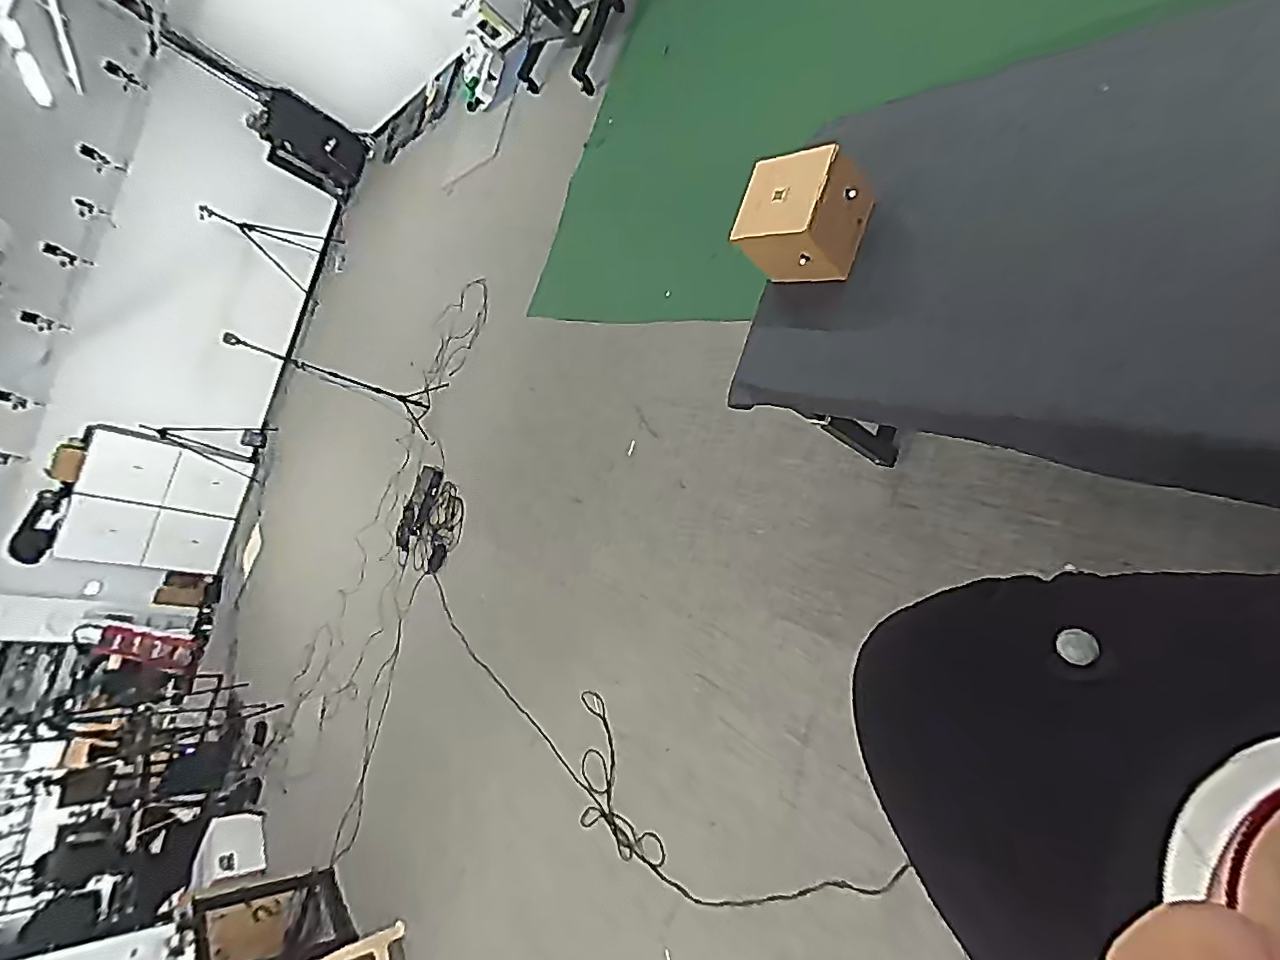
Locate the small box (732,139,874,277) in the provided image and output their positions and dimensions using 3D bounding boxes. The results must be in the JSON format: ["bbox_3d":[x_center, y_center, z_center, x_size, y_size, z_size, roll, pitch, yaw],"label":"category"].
[{"bbox_3d":[0.315,-0.507,1.034,0.179,0.176,0.168,22,90,47],"label":"small box"}]
